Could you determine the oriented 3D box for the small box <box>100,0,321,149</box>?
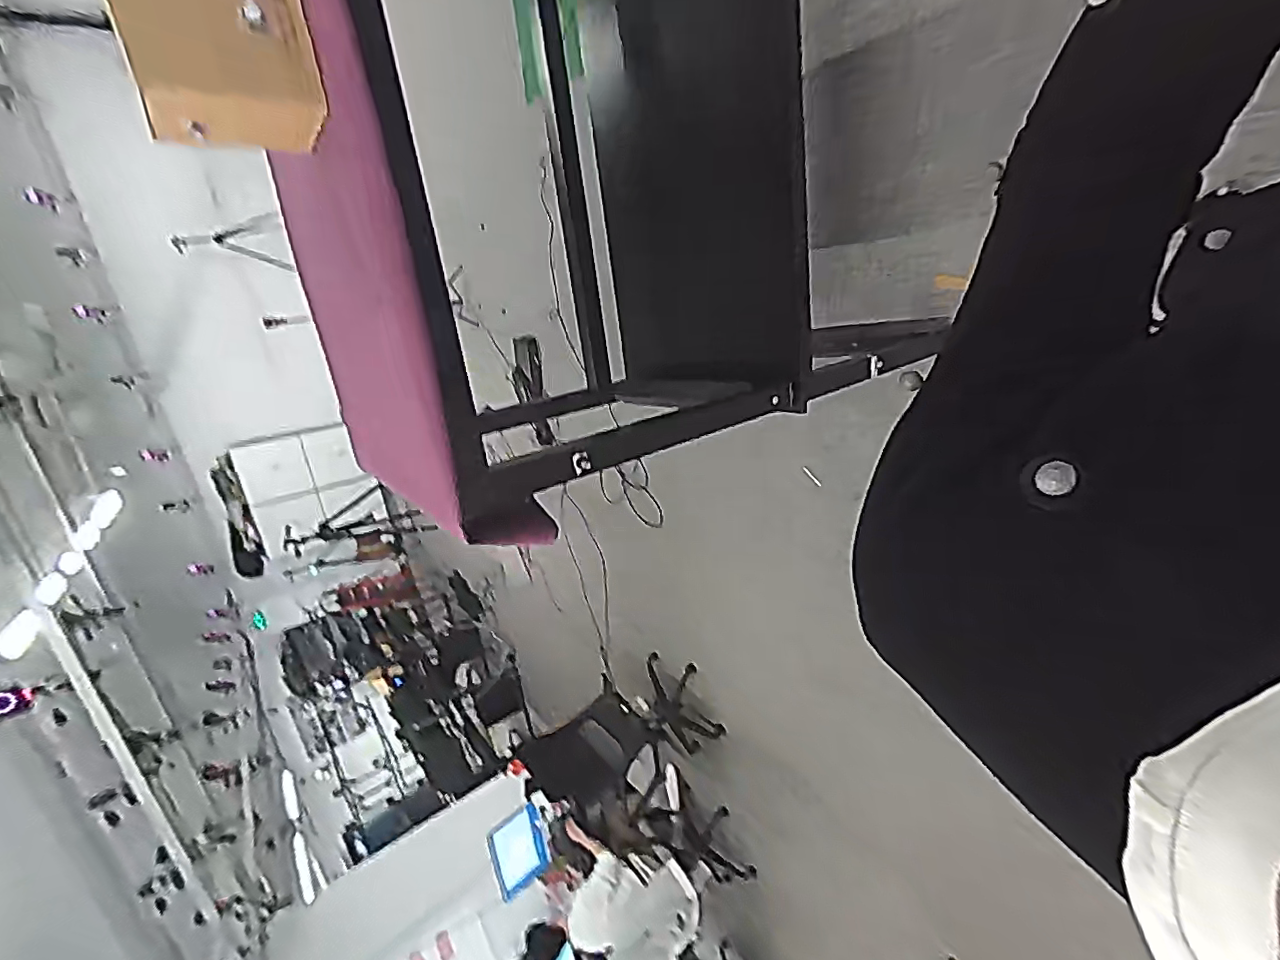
[{"bbox_3d":[-0.474,-0.483,0.598,0.179,0.176,0.168,16,120,51],"label":"small box"}]
